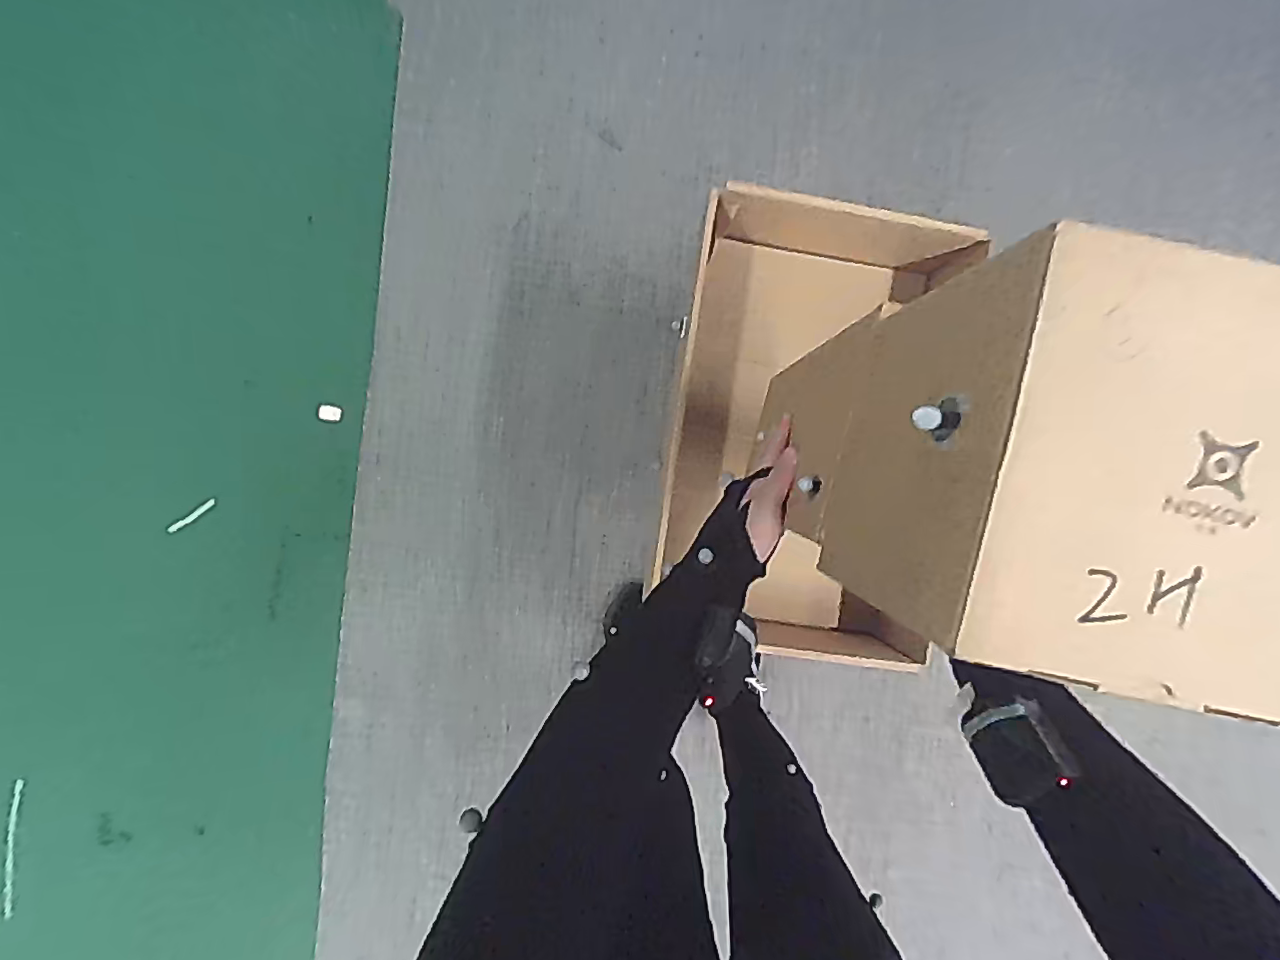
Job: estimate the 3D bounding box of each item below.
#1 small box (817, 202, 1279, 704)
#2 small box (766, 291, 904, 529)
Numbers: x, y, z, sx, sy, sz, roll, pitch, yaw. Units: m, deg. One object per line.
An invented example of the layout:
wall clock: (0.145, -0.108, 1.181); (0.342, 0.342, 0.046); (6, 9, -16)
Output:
small box: (0.212, -0.012, 0.292); (0.168, 0.176, 0.179); (11, 93, 1)
small box: (0.217, -0.033, 0.457); (0.168, 0.176, 0.179); (13, 93, 0)
